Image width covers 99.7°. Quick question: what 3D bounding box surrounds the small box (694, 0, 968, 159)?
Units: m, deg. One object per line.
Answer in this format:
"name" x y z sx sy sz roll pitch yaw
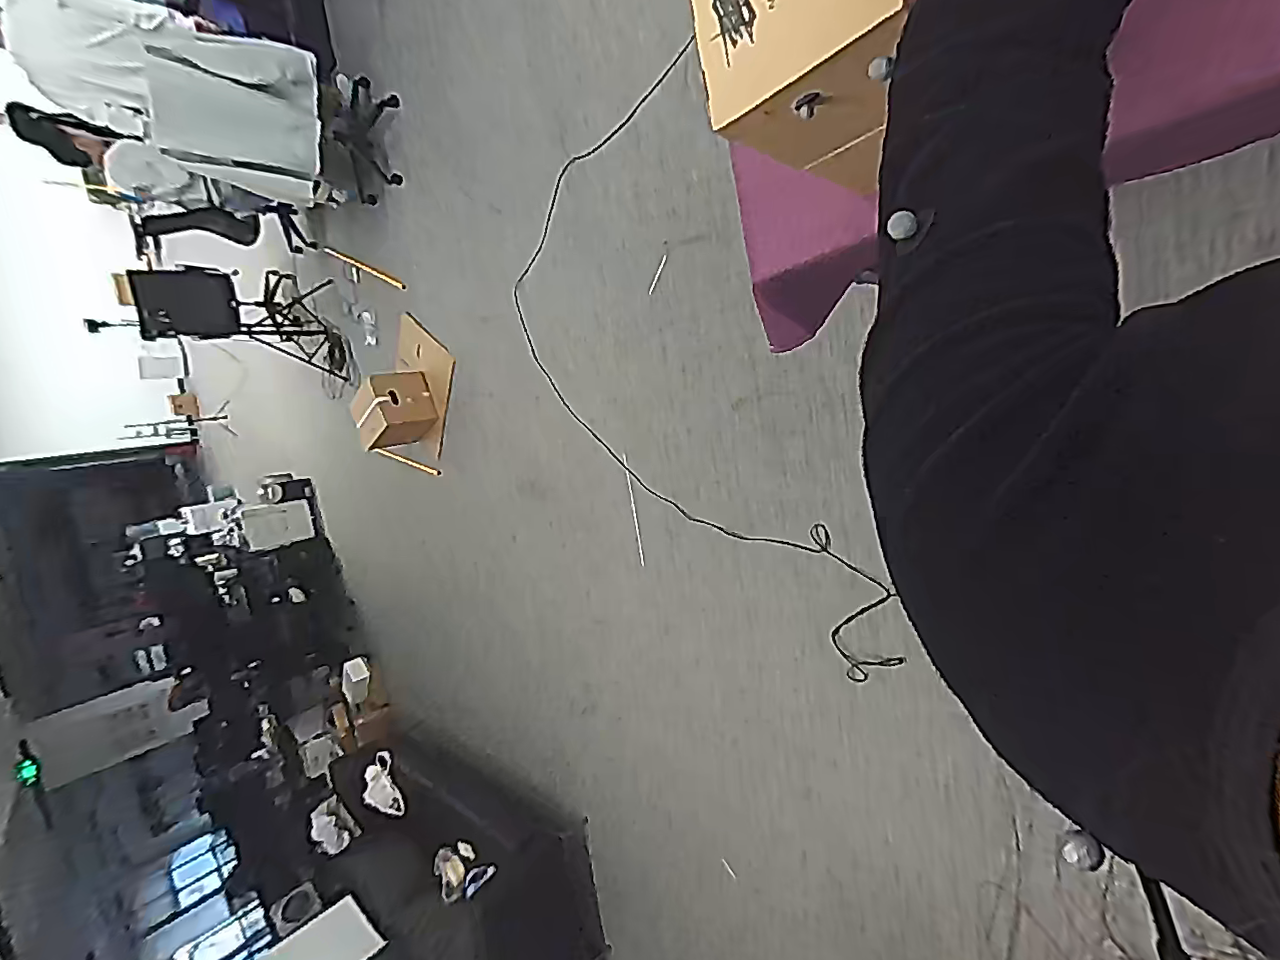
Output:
"small box" 0.174 -0.434 0.504 0.179 0.176 0.168 -9 95 47

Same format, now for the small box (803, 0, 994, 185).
"small box" 0.288 -0.465 0.622 0.168 0.176 0.179 -6 96 44
